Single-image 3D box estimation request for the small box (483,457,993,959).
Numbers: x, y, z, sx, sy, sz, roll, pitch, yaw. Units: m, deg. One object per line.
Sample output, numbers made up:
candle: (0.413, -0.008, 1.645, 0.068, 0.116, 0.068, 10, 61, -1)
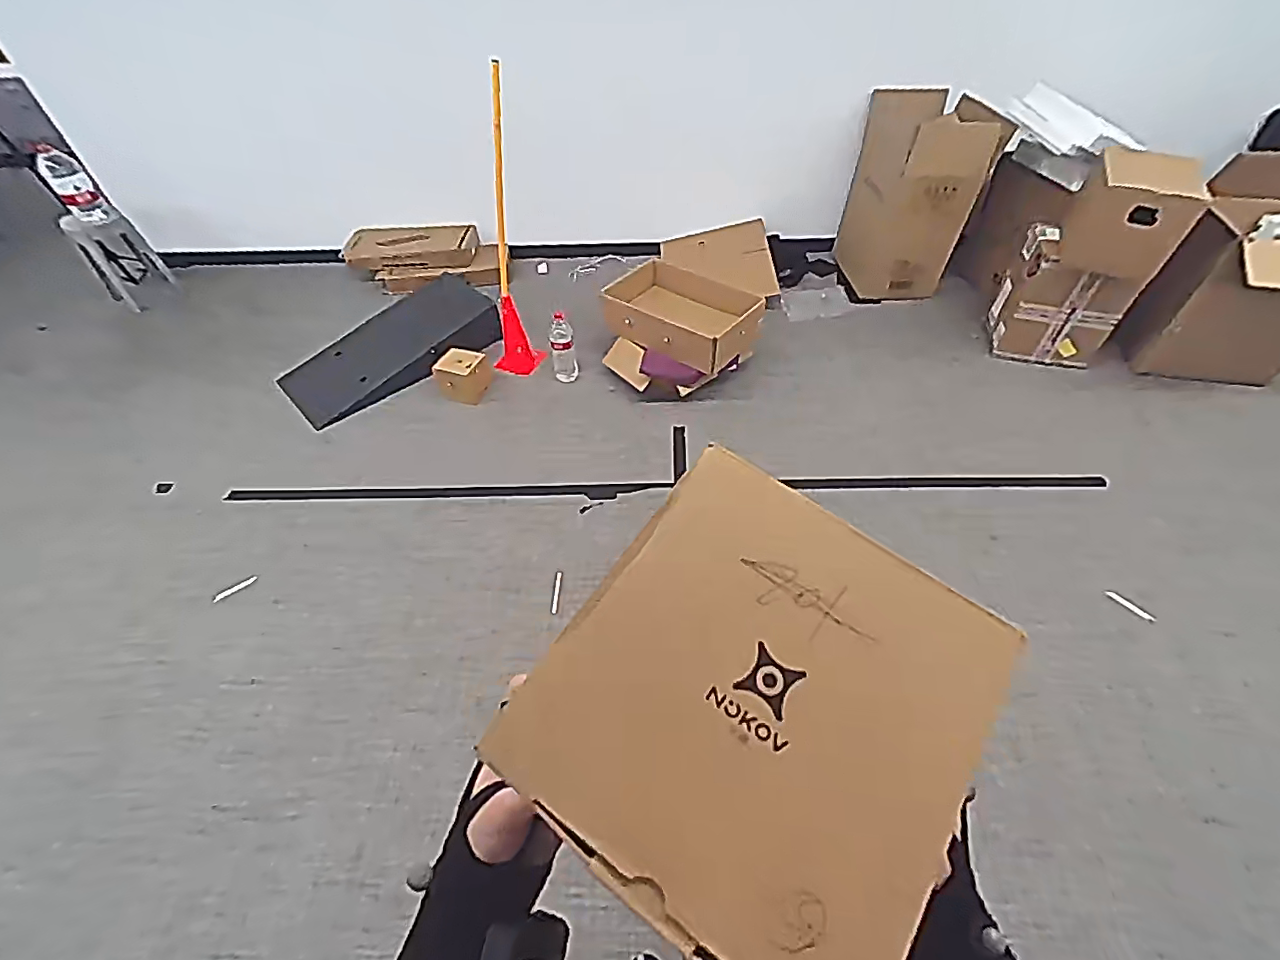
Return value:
small box: (0.046, 0.127, 0.308, 0.168, 0.176, 0.179, 33, 67, 13)
